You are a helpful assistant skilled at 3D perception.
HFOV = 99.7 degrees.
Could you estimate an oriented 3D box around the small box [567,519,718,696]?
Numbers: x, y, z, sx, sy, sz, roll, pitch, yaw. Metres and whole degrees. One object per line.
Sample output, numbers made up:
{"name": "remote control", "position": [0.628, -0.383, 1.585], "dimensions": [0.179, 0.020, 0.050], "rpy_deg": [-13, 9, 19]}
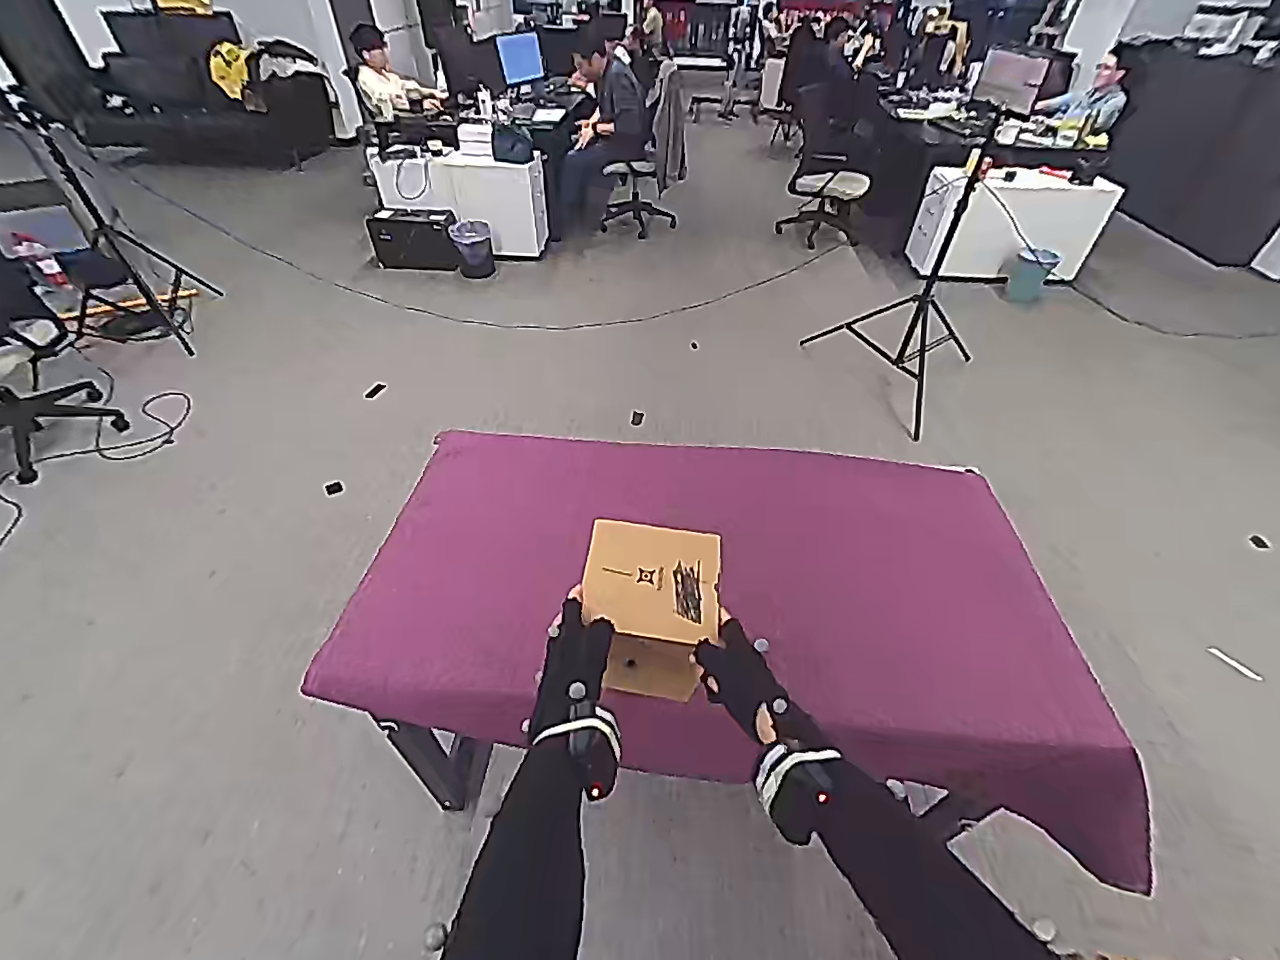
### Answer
{"name": "small box", "position": [0.002, 0.182, 0.751], "dimensions": [0.179, 0.176, 0.168], "rpy_deg": [10, 47, -1]}
